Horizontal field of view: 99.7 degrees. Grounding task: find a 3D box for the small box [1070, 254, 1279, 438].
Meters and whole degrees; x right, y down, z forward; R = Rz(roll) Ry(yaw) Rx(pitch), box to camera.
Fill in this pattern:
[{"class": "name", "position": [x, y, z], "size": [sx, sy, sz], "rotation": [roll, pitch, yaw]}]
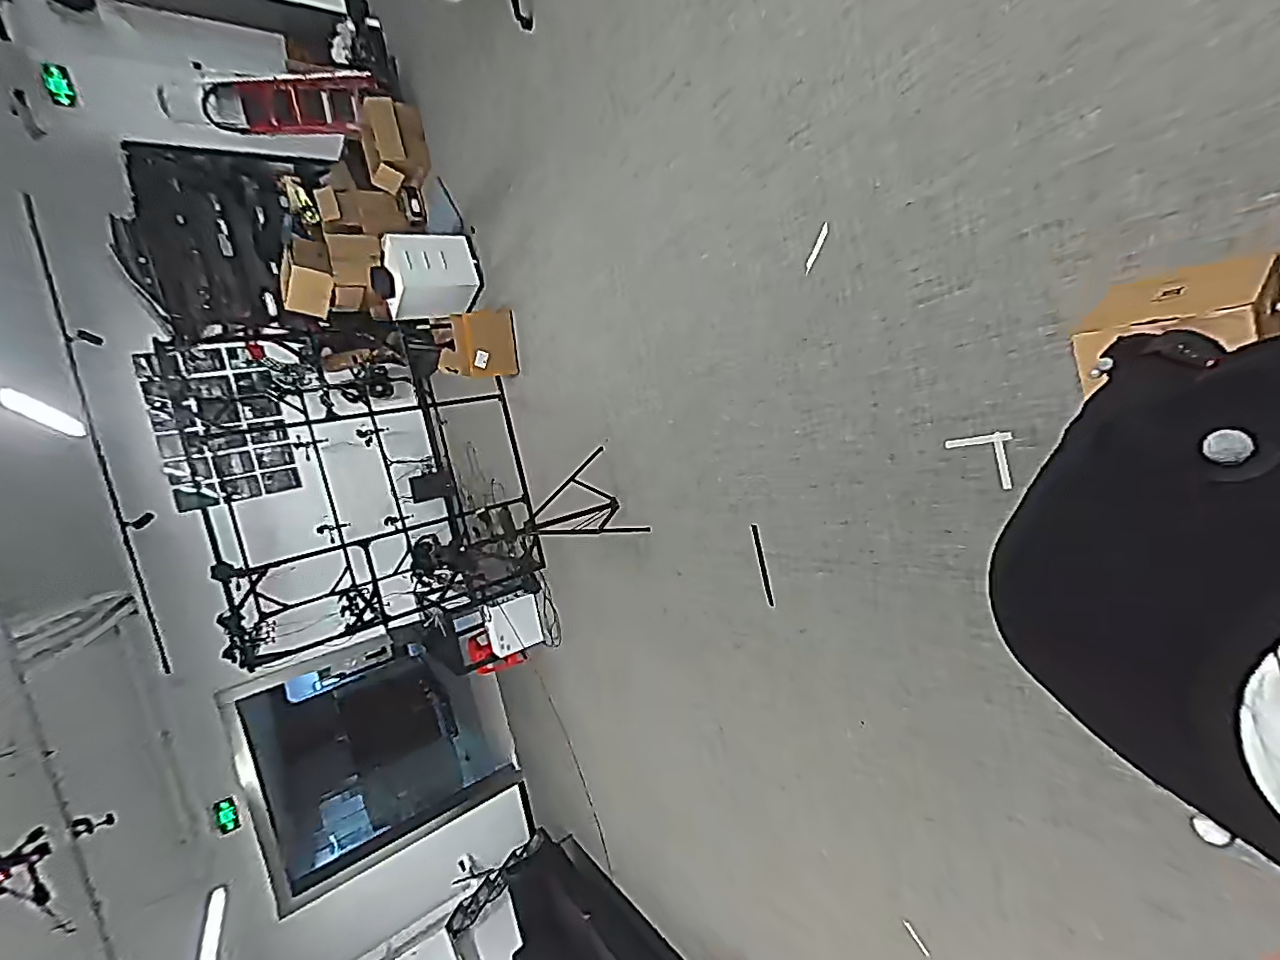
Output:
[{"class": "small box", "position": [0.716, -0.165, 0.718], "size": [0.168, 0.179, 0.176], "rotation": [4, 126, 57]}]
